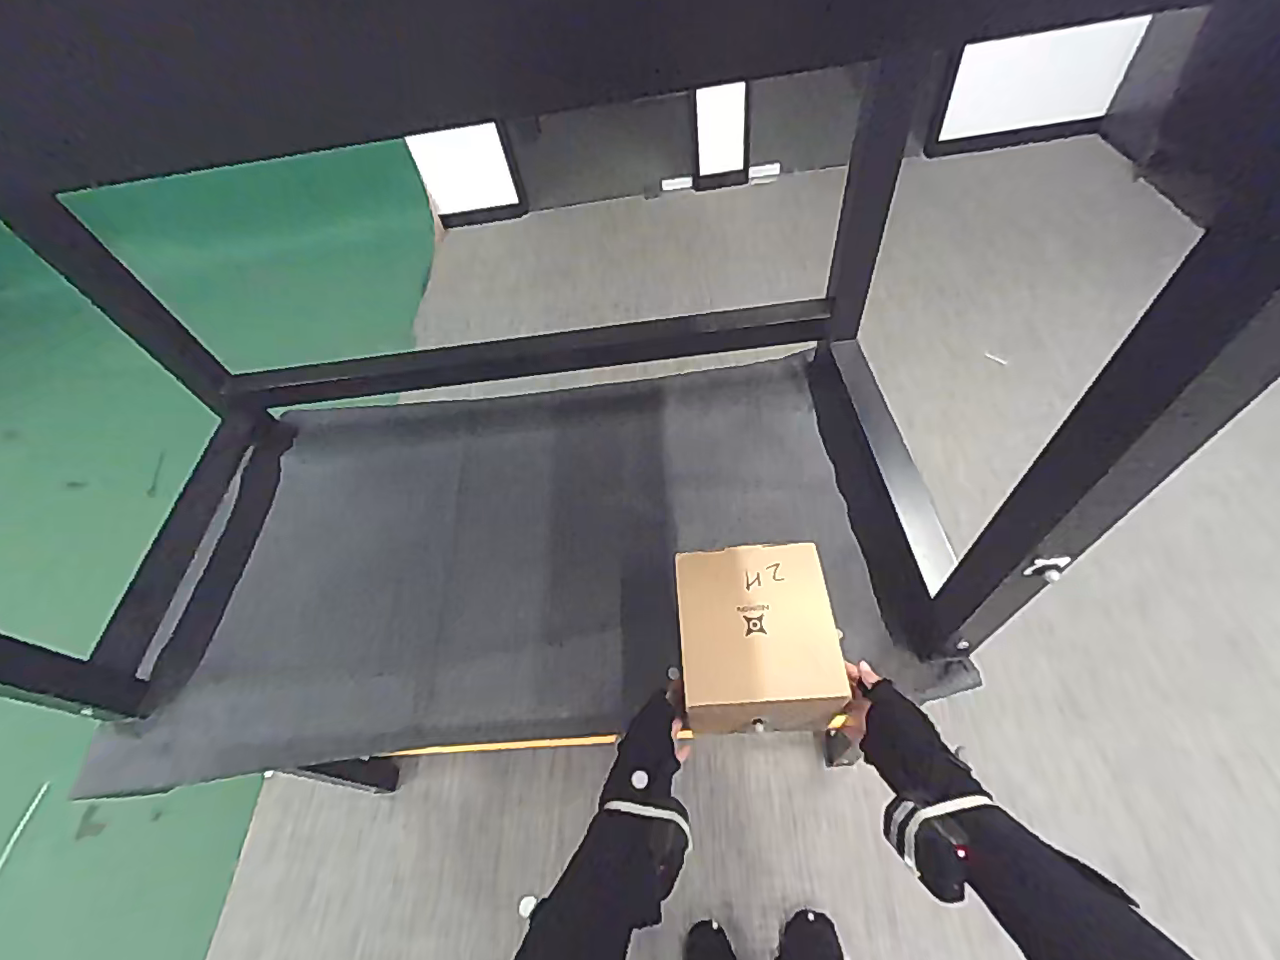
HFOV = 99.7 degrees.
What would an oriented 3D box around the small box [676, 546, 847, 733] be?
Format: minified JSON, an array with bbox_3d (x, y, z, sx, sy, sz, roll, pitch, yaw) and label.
[{"bbox_3d":[0.135,0.200,0.655,0.168,0.176,0.179,-5,54,5],"label":"small box"}]
